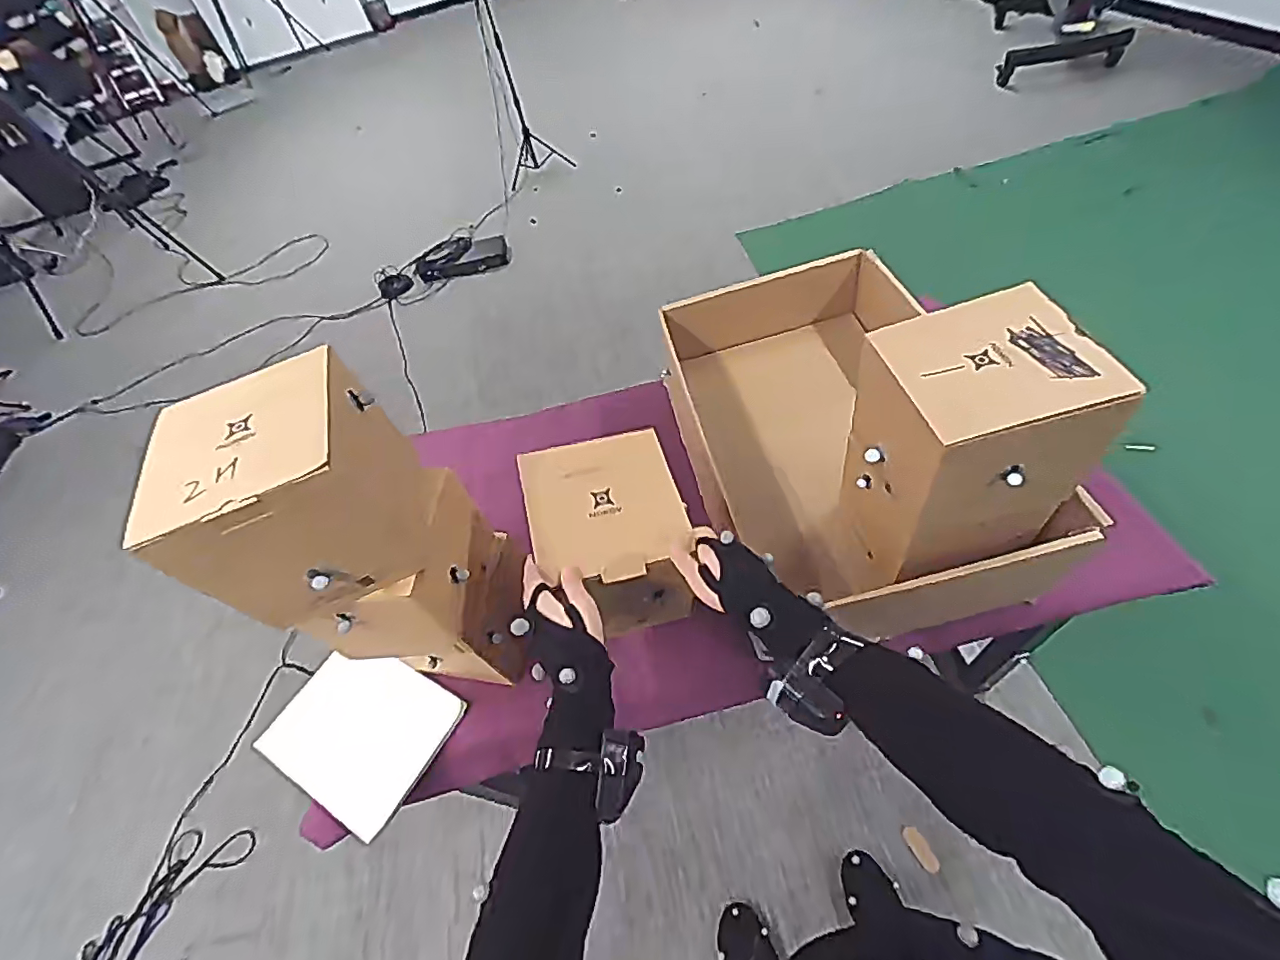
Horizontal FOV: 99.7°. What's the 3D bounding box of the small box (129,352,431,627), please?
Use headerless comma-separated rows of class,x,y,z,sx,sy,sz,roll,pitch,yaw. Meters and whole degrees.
small box,-0.328,0.013,0.531,0.168,0.176,0.179,-23,52,-4

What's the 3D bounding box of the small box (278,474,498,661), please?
small box,-0.292,0.112,0.659,0.179,0.176,0.168,-5,52,9

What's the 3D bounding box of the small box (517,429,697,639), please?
small box,-0.040,0.071,0.638,0.168,0.176,0.179,-12,53,-9

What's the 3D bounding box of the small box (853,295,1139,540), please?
small box,0.348,-0.060,0.576,0.179,0.176,0.168,-16,51,4
